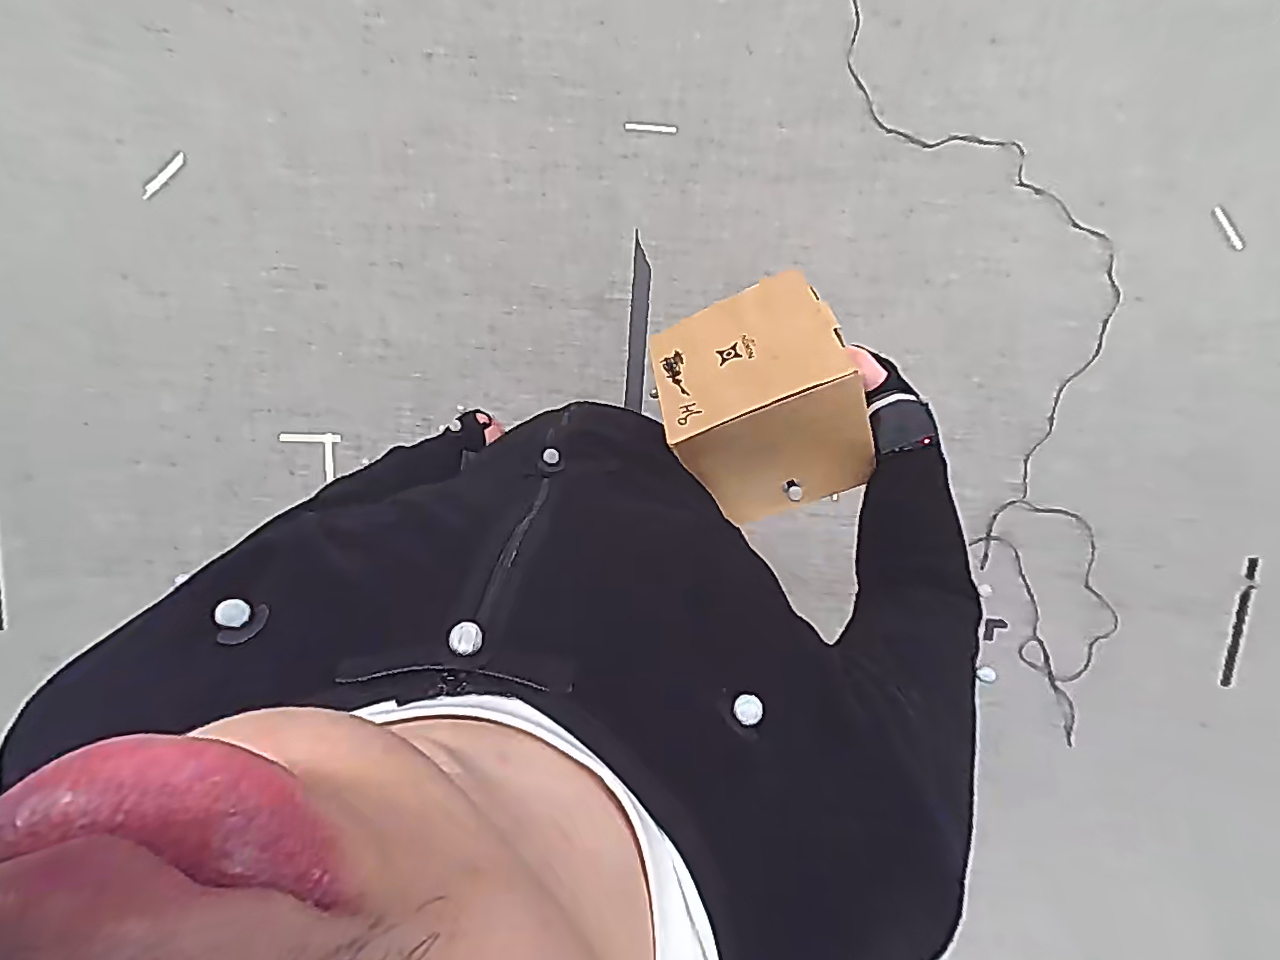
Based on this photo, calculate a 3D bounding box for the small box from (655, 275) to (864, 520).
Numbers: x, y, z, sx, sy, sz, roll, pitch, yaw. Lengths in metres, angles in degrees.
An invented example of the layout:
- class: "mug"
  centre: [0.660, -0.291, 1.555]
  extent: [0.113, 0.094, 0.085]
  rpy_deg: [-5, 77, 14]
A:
- class: "small box"
  centre: [0.135, -0.083, 0.598]
  extent: [0.179, 0.168, 0.176]
  rpy_deg: [-20, 138, 15]
